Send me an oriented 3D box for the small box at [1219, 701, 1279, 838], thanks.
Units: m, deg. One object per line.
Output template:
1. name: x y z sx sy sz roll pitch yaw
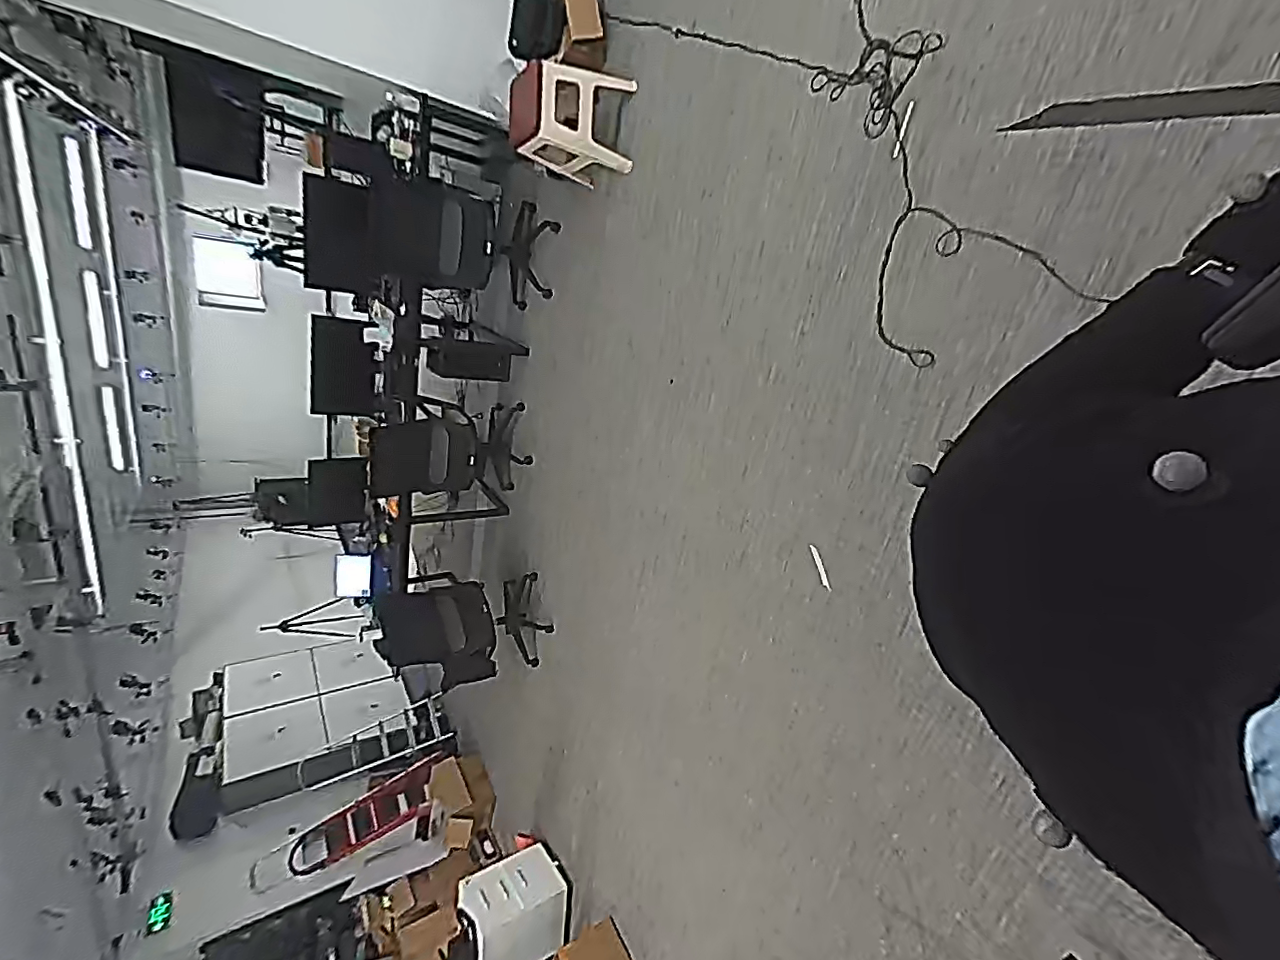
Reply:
1. small box: 1.134 0.506 0.909 0.168 0.176 0.179 29 116 50
